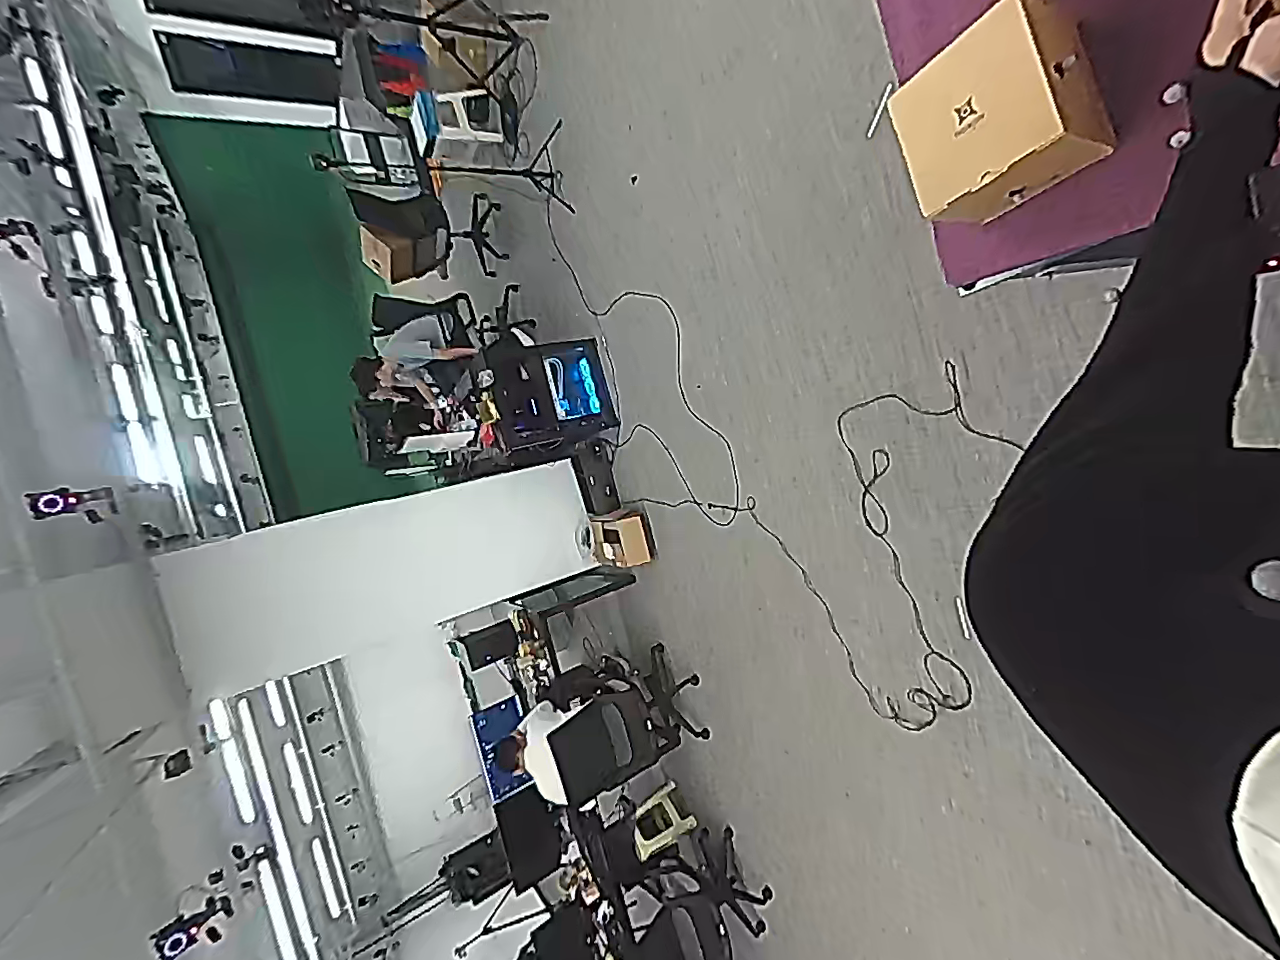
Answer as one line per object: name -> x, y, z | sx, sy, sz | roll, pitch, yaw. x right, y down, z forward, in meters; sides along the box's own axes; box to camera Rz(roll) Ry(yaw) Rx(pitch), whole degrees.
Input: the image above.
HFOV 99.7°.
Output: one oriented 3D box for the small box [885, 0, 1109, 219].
small box -> 0.461, -0.463, 0.704 | 0.168, 0.176, 0.179 | -20, 87, 58
